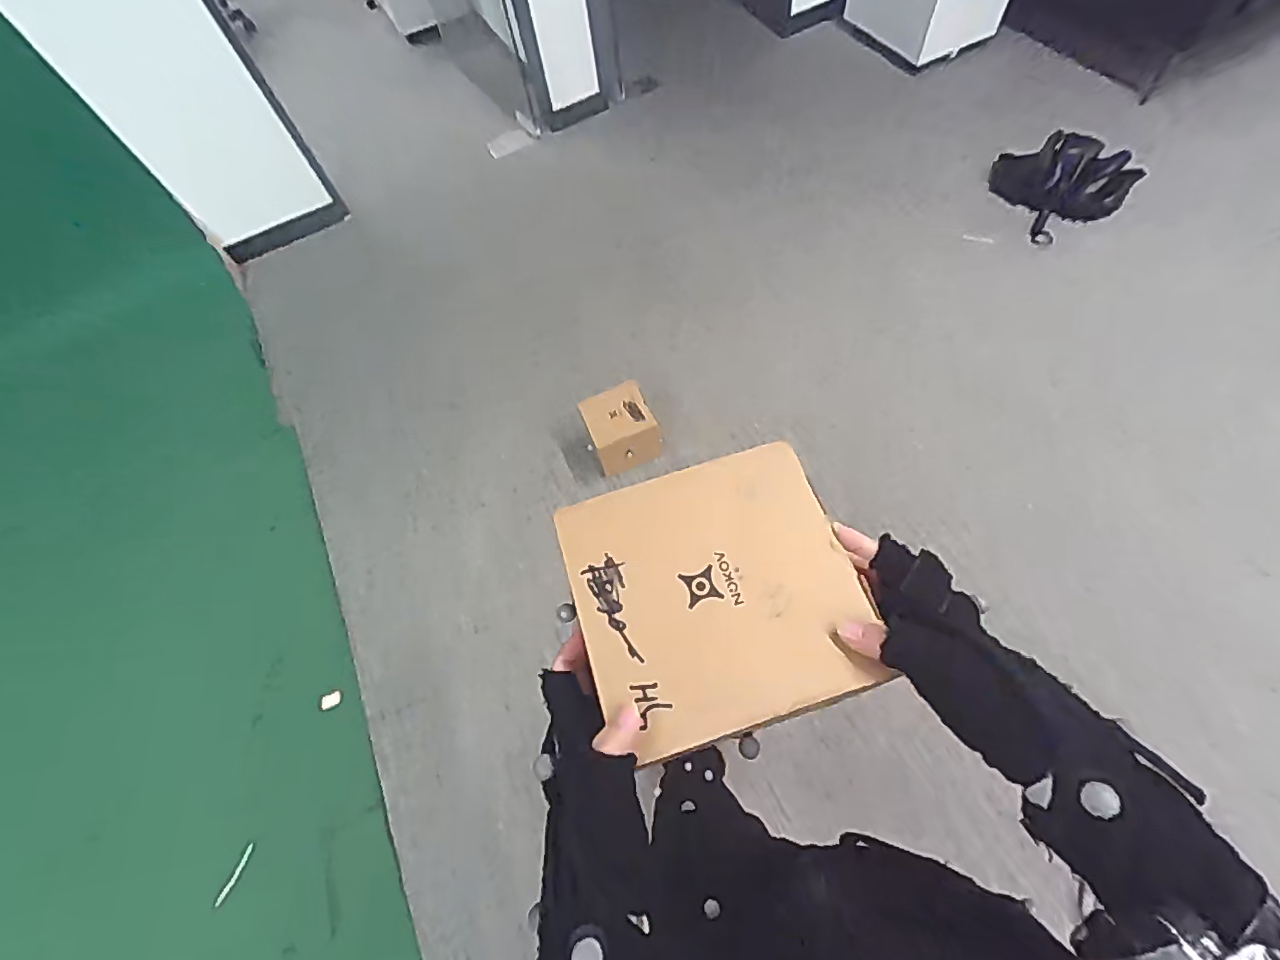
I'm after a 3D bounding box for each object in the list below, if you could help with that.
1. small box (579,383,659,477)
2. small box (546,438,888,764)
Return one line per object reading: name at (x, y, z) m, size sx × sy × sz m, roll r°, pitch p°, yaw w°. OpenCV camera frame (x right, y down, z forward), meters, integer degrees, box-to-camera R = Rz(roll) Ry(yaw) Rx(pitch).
small box at (-0.052, -0.136, 1.526) m, size 0.179 × 0.176 × 0.168 m, roll -24°, pitch 62°, yaw -4°
small box at (0.046, 0.099, 0.416) m, size 0.179 × 0.176 × 0.168 m, roll -20°, pitch 63°, yaw -5°
